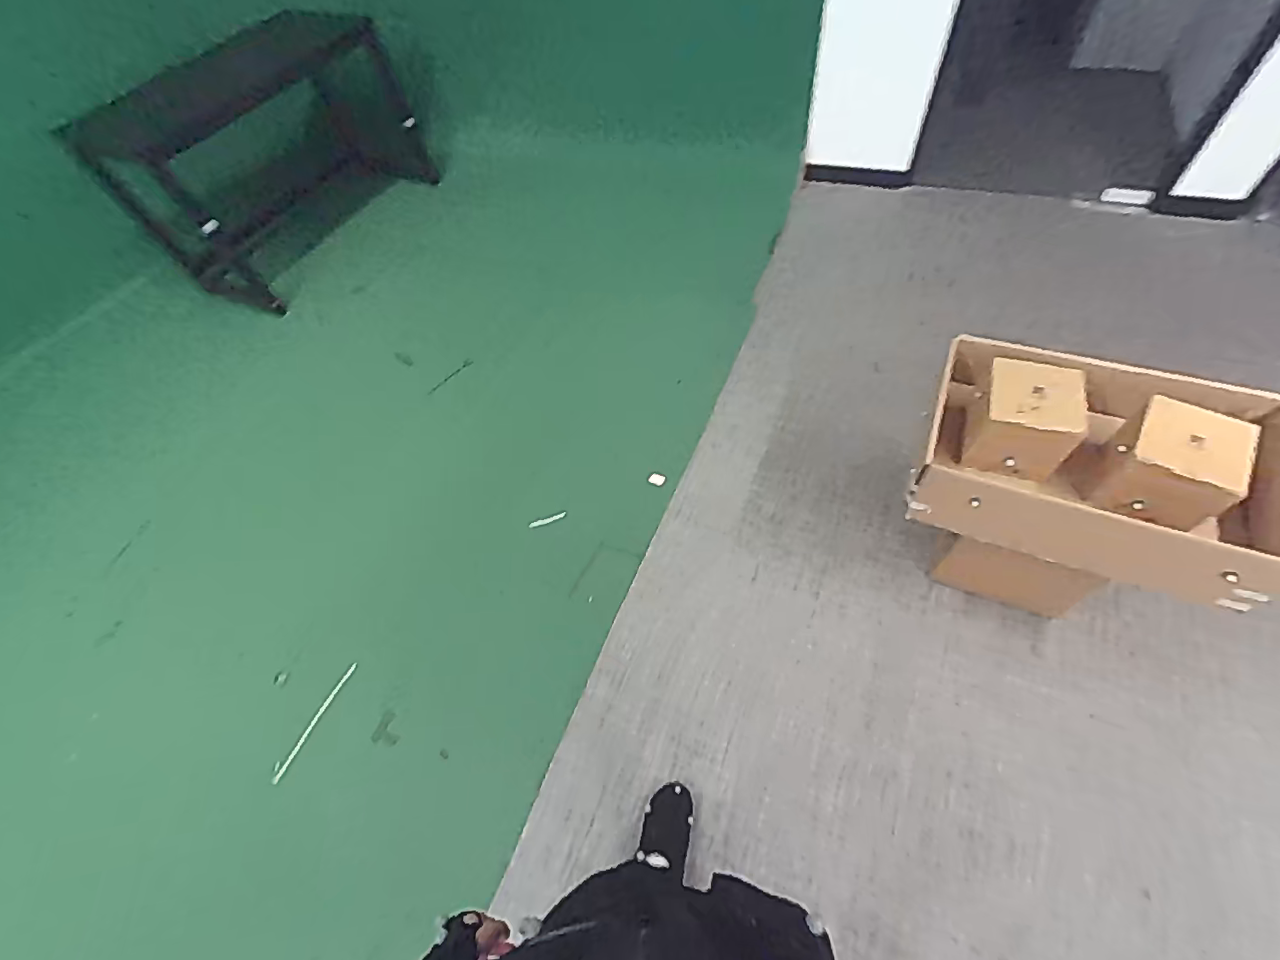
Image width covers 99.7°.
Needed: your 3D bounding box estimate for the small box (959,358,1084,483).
[{"bbox_3d":[0.795,-0.124,1.140,0.168,0.176,0.179,14,60,17],"label":"small box"}]
